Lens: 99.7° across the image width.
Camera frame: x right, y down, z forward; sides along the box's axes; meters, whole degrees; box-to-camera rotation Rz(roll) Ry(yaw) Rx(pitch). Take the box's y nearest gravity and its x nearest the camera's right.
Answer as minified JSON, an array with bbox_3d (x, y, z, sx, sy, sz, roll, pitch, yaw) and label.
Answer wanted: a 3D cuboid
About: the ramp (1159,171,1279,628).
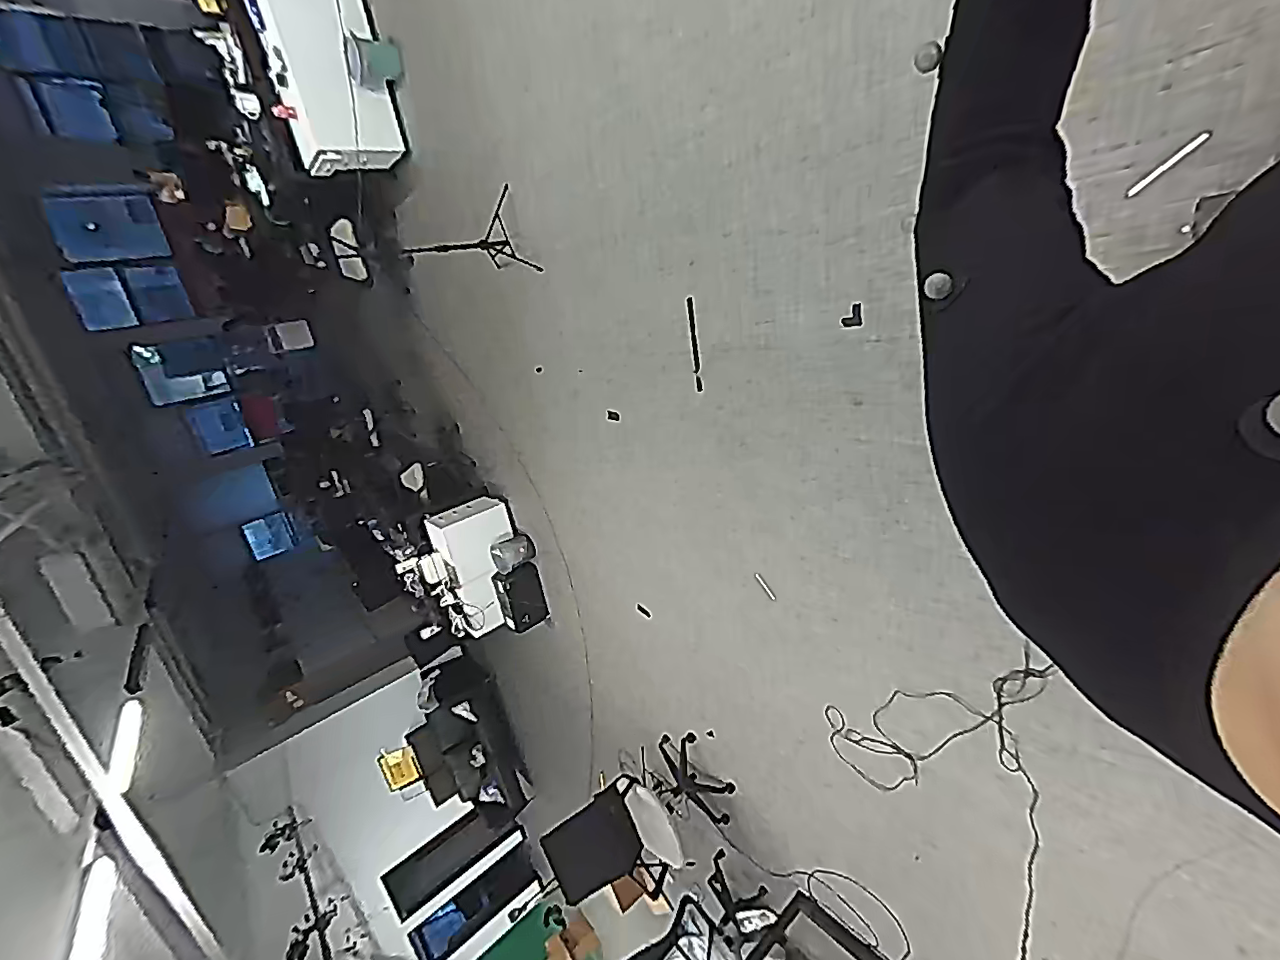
[{"bbox_3d":[1.338,-0.081,1.005,0.509,0.206,0.991,9,117,50],"label":"ramp"}]
